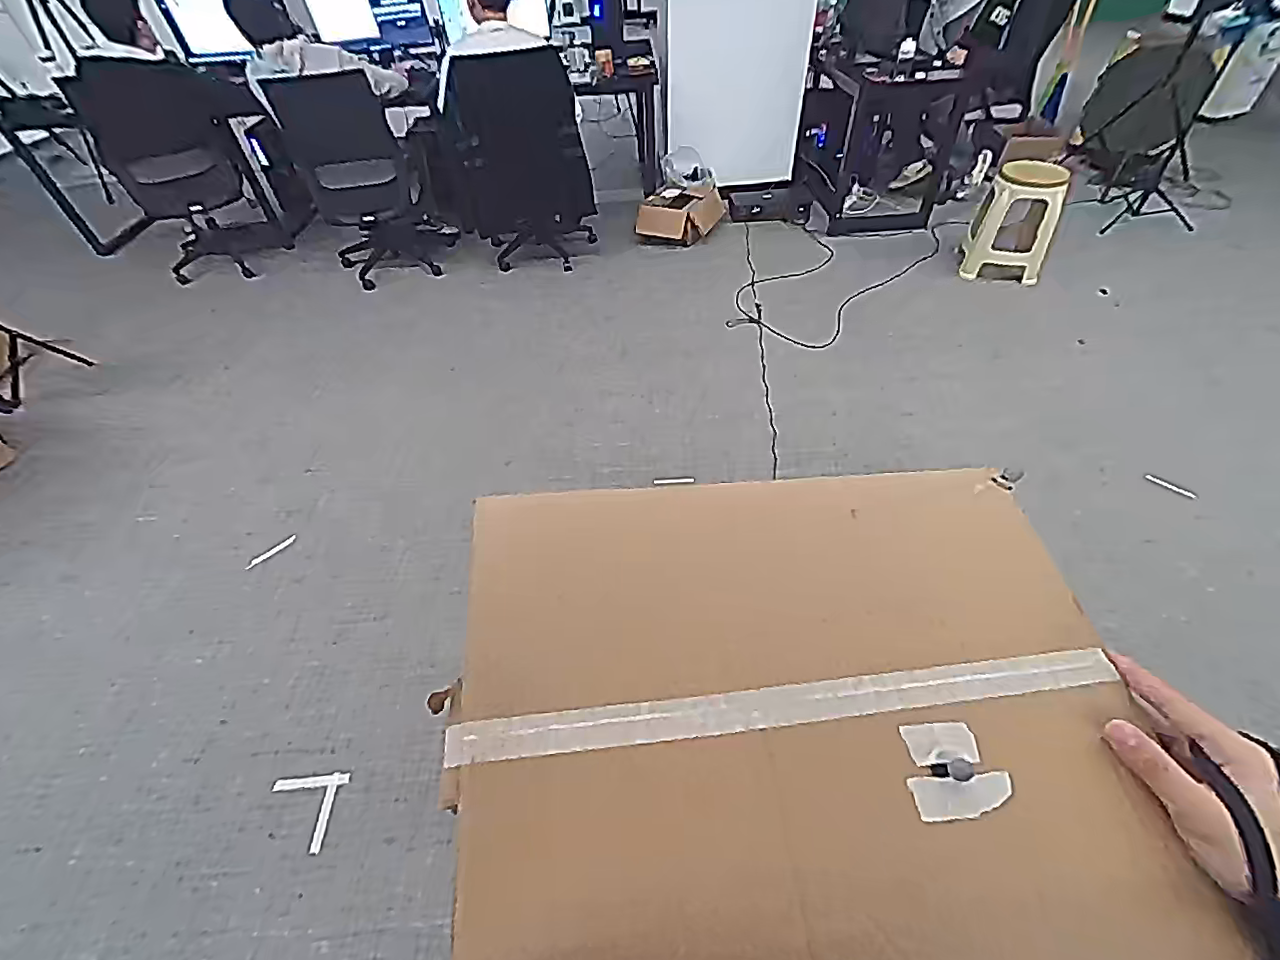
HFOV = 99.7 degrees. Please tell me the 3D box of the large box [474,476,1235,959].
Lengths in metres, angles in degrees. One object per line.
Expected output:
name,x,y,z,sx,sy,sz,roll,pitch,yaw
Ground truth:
large box,0.088,0.219,0.458,0.408,0.320,0.320,-3,58,-9
